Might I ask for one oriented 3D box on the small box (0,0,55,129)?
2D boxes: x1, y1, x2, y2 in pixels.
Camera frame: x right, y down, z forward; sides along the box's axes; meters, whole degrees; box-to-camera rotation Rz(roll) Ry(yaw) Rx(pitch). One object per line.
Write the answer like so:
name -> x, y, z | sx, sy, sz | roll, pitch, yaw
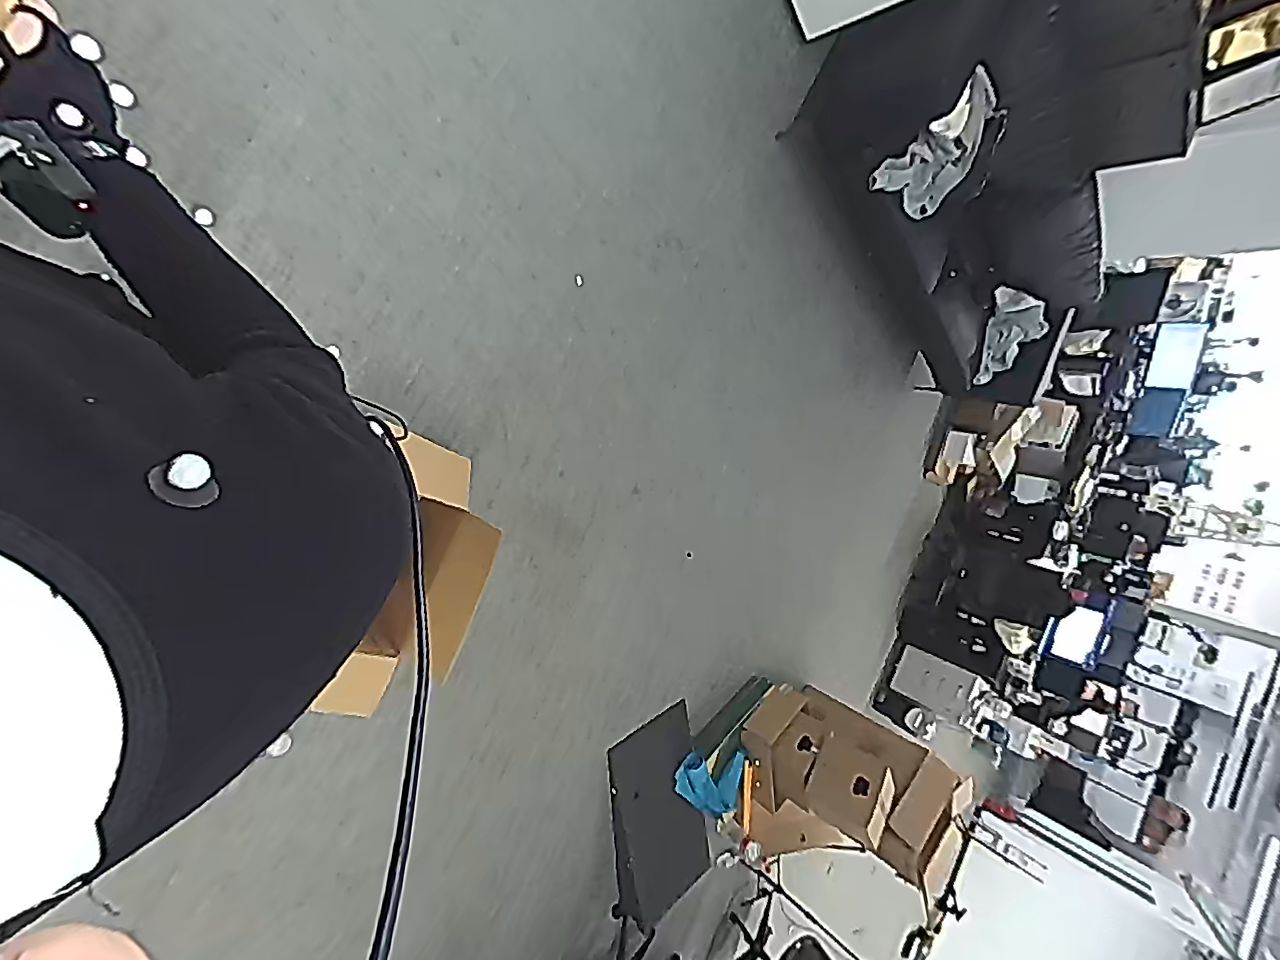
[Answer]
small box -> -0.601, -0.400, 0.413 | 0.179, 0.176, 0.168 | -19, 102, -36
